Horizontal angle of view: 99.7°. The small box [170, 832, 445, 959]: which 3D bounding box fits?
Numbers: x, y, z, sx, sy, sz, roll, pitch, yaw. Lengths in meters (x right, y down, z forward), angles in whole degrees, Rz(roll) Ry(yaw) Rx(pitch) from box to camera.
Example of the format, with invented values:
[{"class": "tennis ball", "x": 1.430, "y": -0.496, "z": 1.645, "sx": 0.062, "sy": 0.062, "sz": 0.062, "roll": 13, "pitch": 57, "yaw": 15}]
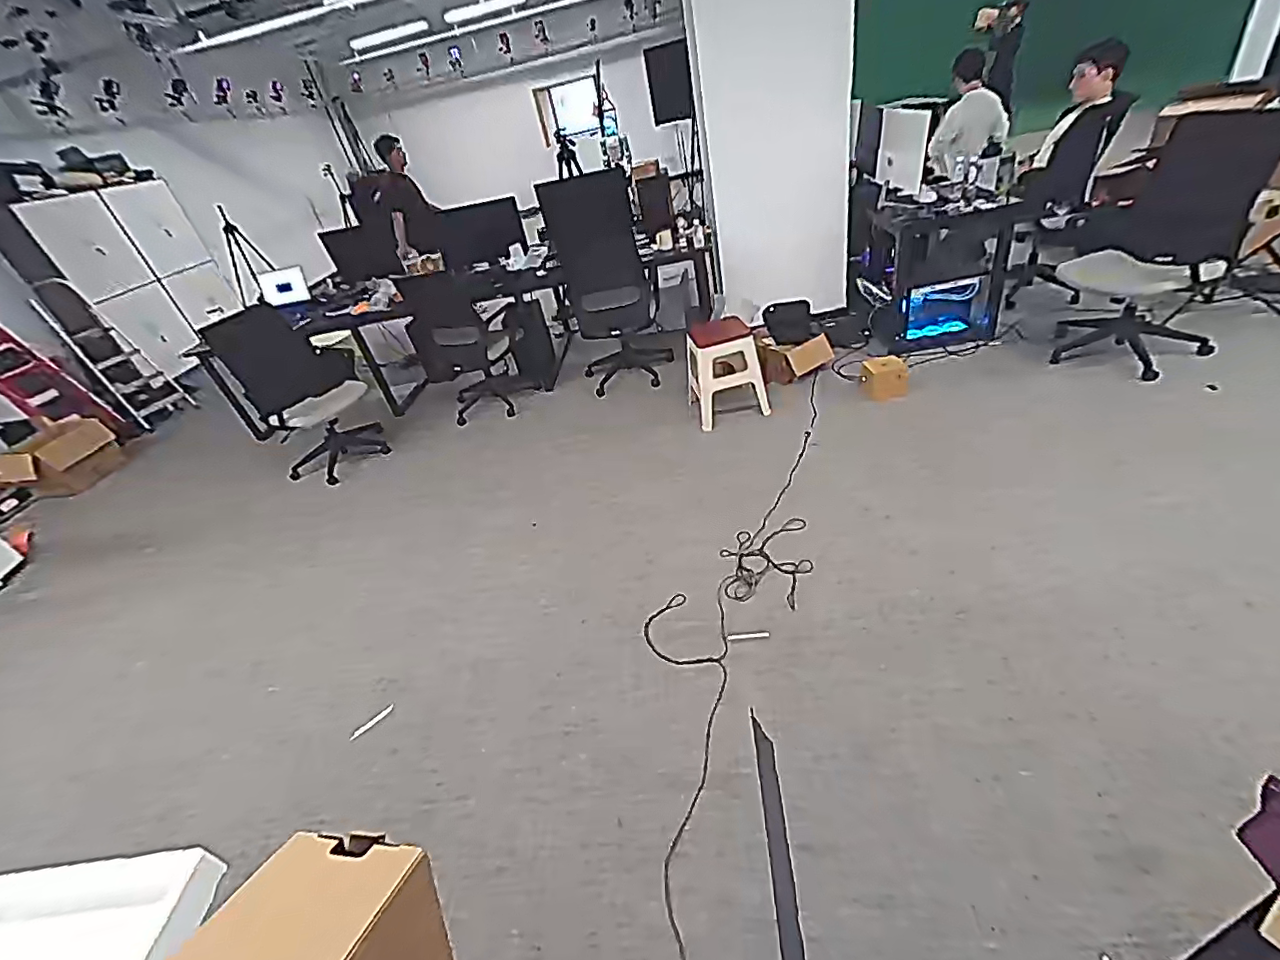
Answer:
[{"class": "small box", "x": -0.301, "y": 0.473, "z": 0.499, "sx": 0.168, "sy": 0.176, "sz": 0.179, "roll": -5, "pitch": 11, "yaw": 16}]
